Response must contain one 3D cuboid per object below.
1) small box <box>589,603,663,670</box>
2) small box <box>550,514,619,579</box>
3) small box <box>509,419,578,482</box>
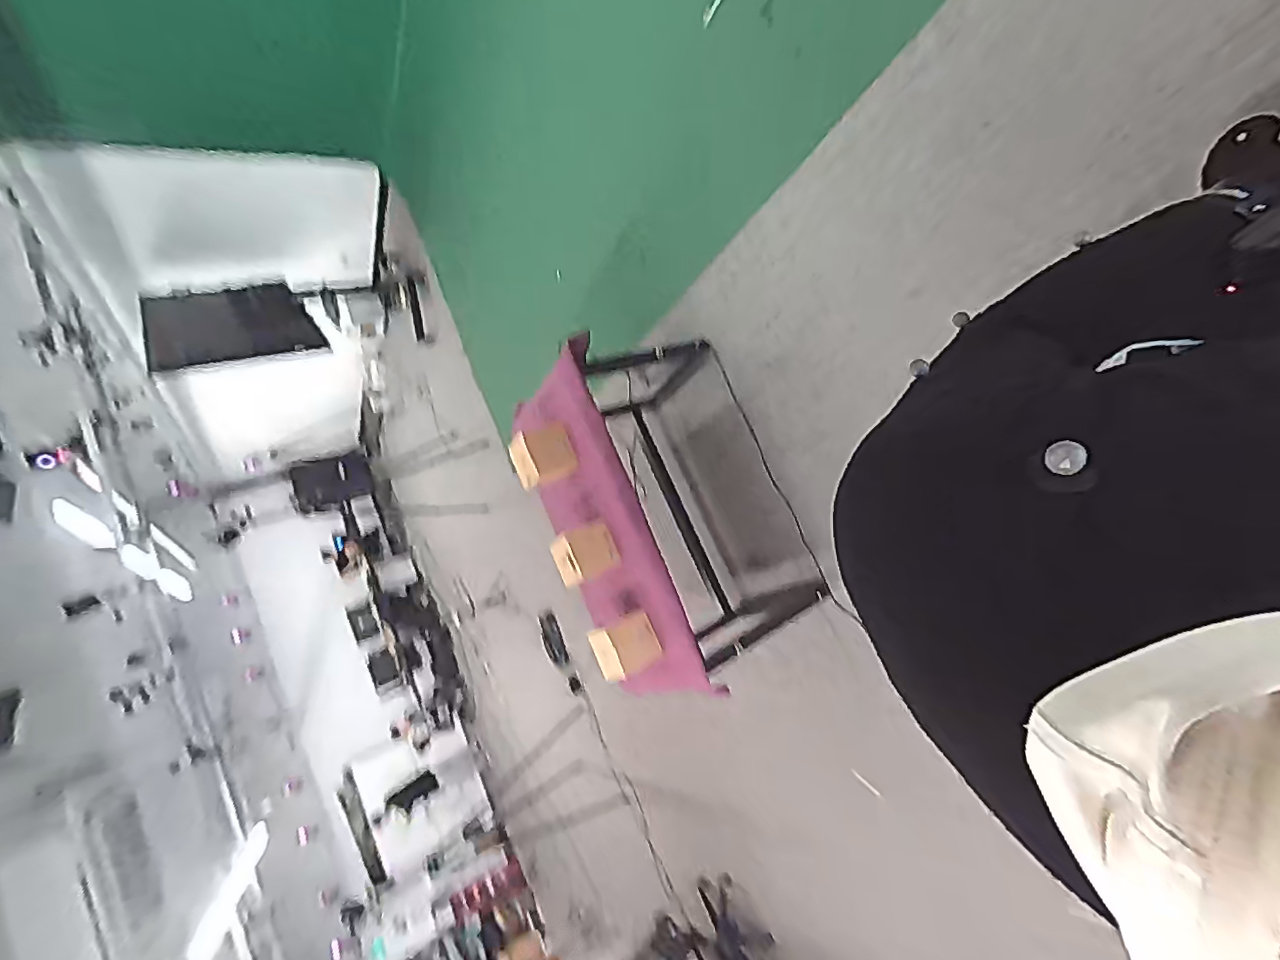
[{"bbox_3d":[-0.048,0.550,1.902,0.179,0.176,0.168,-39,74,55],"label":"small box"},{"bbox_3d":[-0.195,0.239,1.954,0.179,0.176,0.168,-37,75,56],"label":"small box"},{"bbox_3d":[-0.356,-0.114,2.001,0.168,0.176,0.179,-34,78,56],"label":"small box"}]
